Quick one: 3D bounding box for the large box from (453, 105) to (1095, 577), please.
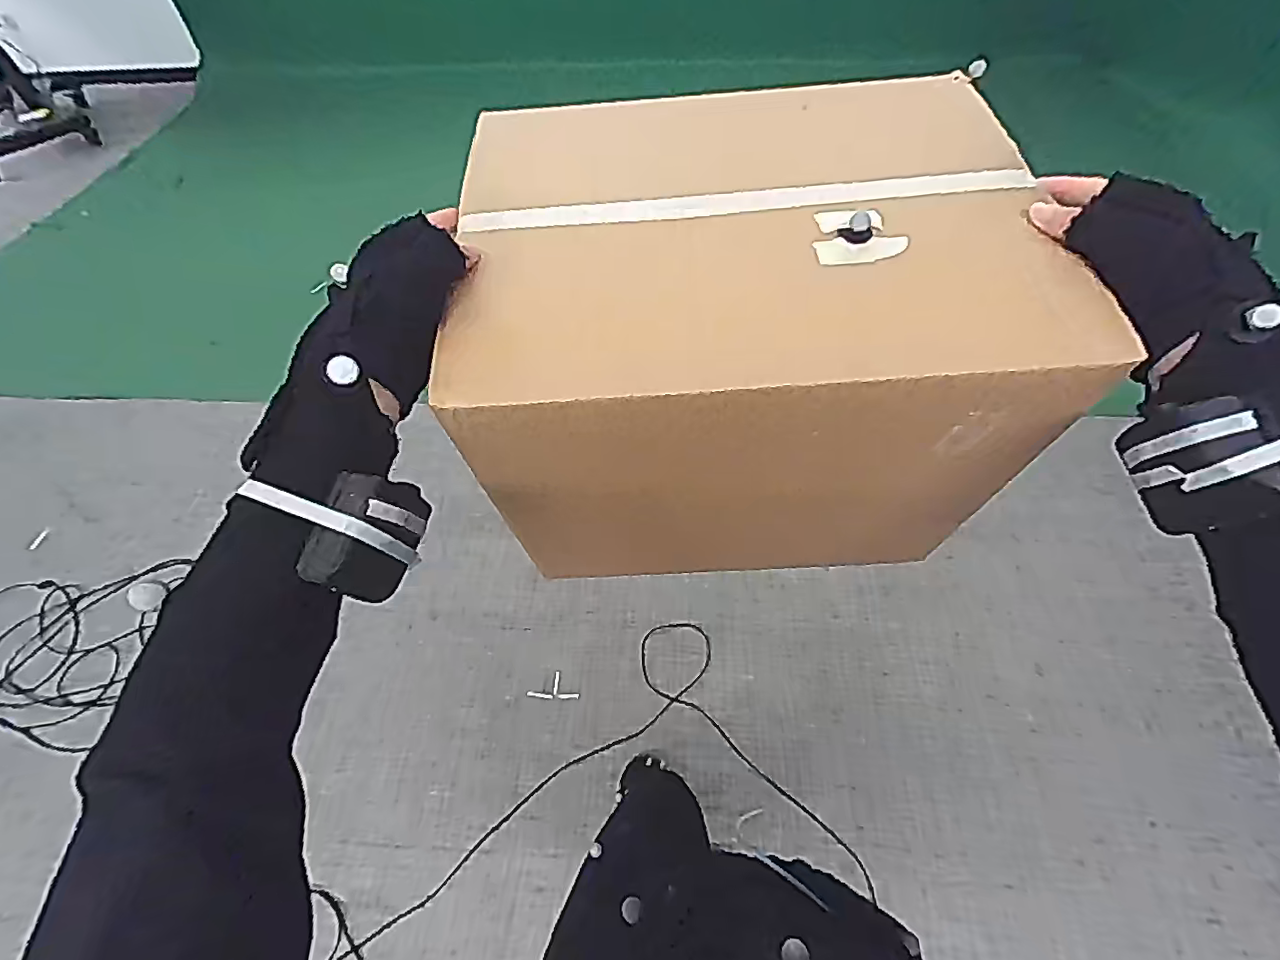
[{"bbox_3d":[0.078,-0.112,0.531,0.408,0.320,0.320,-3,60,1],"label":"large box"}]
